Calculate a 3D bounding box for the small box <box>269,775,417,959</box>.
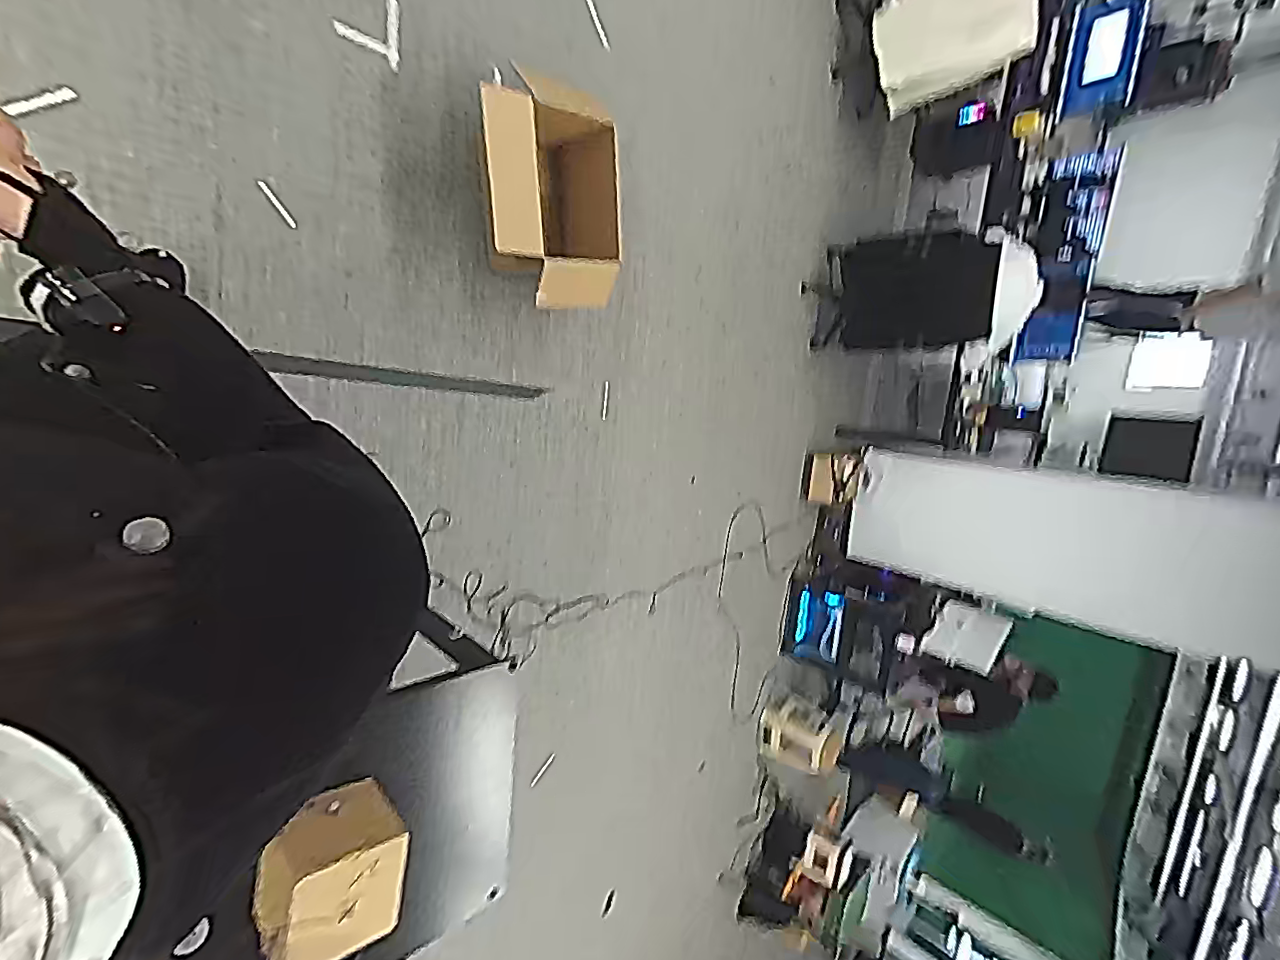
[{"bbox_3d":[-0.494,0.635,0.894,0.168,0.176,0.179,4,97,-48],"label":"small box"}]
